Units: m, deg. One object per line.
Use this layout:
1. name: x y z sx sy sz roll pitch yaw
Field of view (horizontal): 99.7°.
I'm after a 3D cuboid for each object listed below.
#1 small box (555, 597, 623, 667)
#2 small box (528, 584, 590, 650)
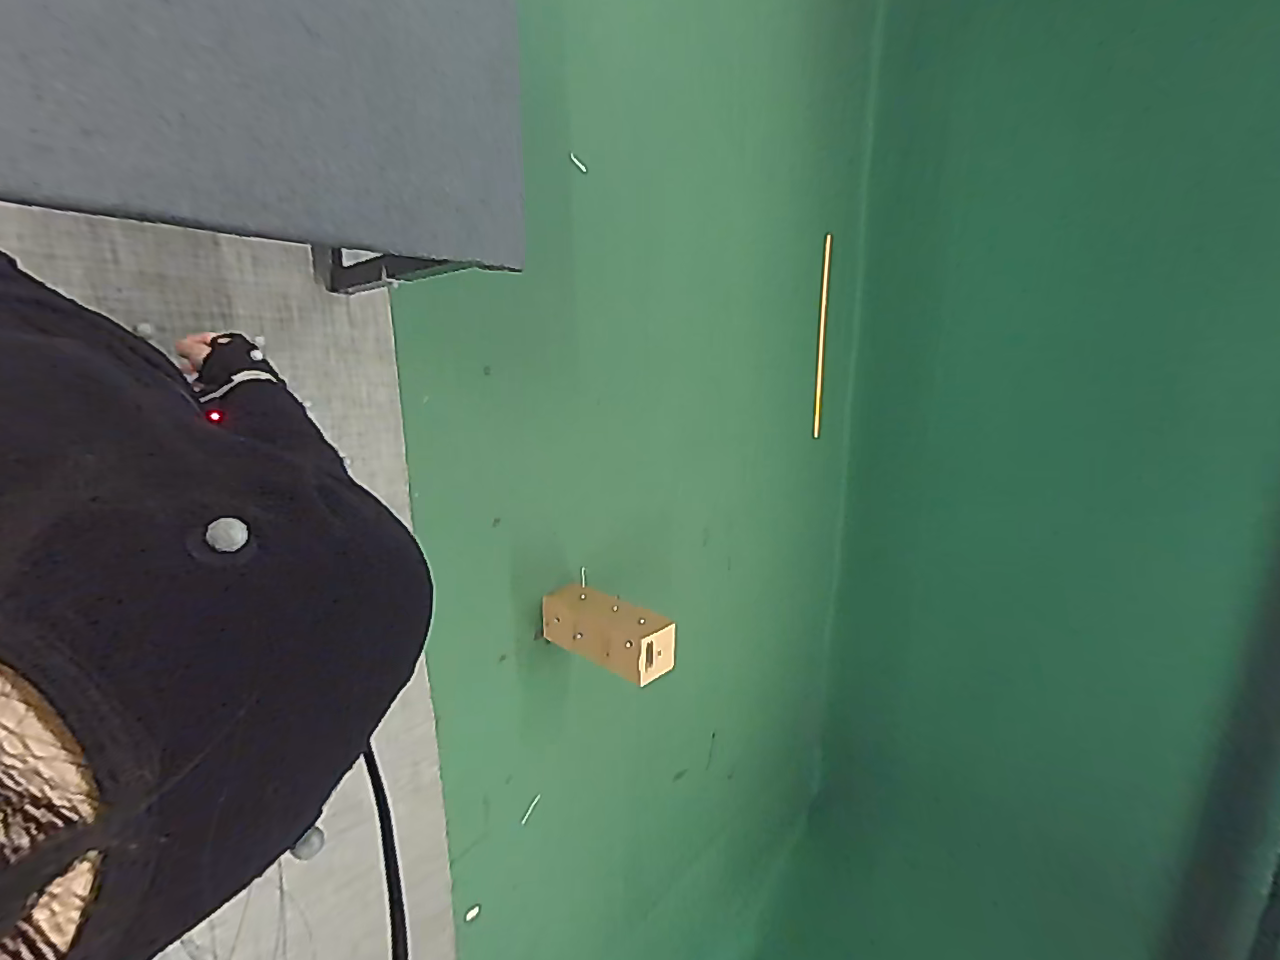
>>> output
1. small box: -0.180 0.529 1.917 0.179 0.176 0.168 -9 105 -48
2. small box: -0.305 0.508 2.023 0.179 0.176 0.168 -13 108 -48
